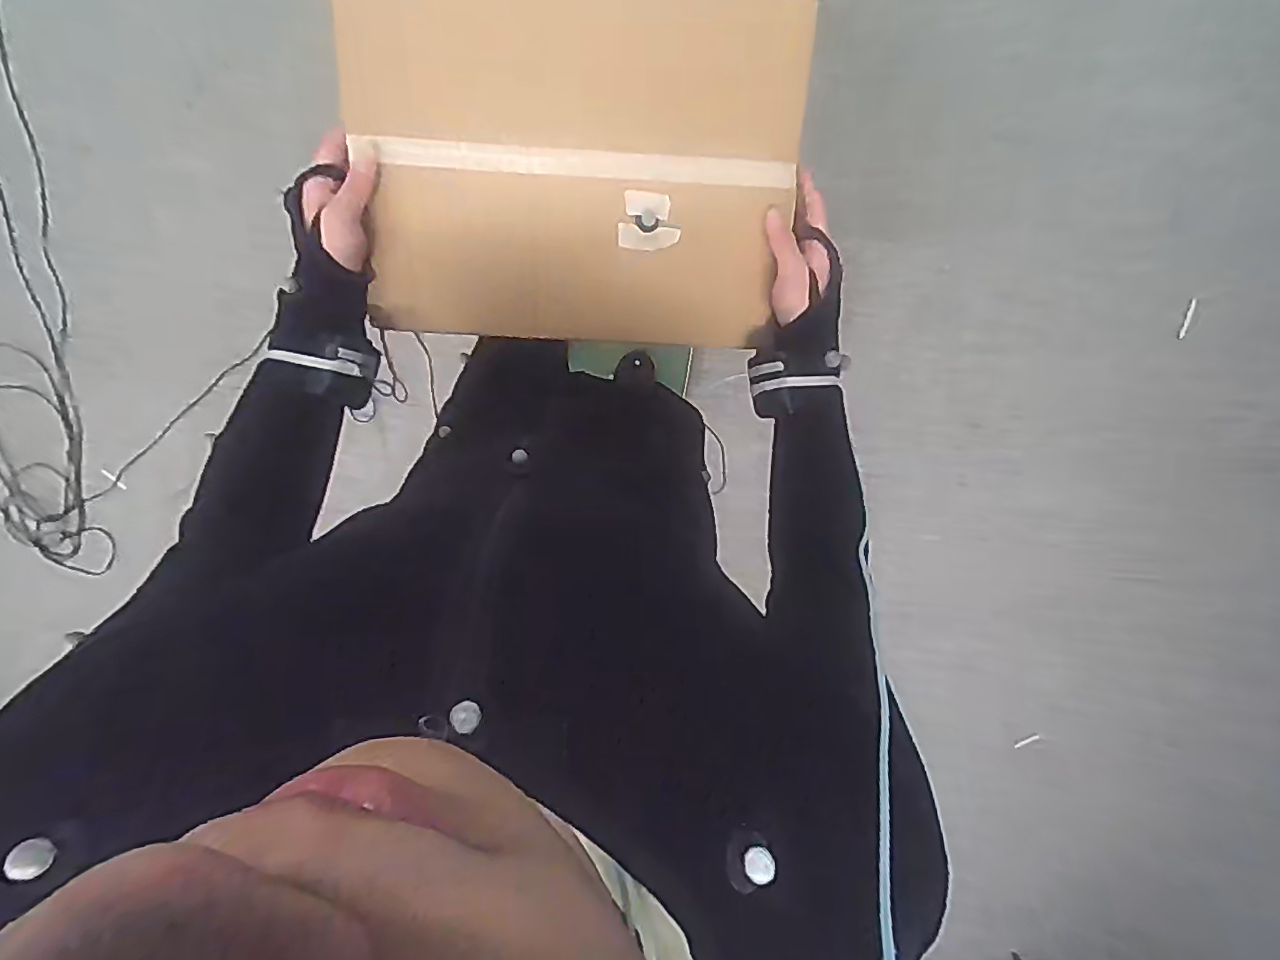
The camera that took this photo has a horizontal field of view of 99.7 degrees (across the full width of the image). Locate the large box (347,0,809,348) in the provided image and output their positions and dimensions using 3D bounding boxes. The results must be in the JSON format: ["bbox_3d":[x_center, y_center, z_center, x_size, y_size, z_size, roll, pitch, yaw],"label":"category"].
[{"bbox_3d":[-0.064,-0.335,0.647,0.408,0.320,0.320,2,110,-4],"label":"large box"}]
